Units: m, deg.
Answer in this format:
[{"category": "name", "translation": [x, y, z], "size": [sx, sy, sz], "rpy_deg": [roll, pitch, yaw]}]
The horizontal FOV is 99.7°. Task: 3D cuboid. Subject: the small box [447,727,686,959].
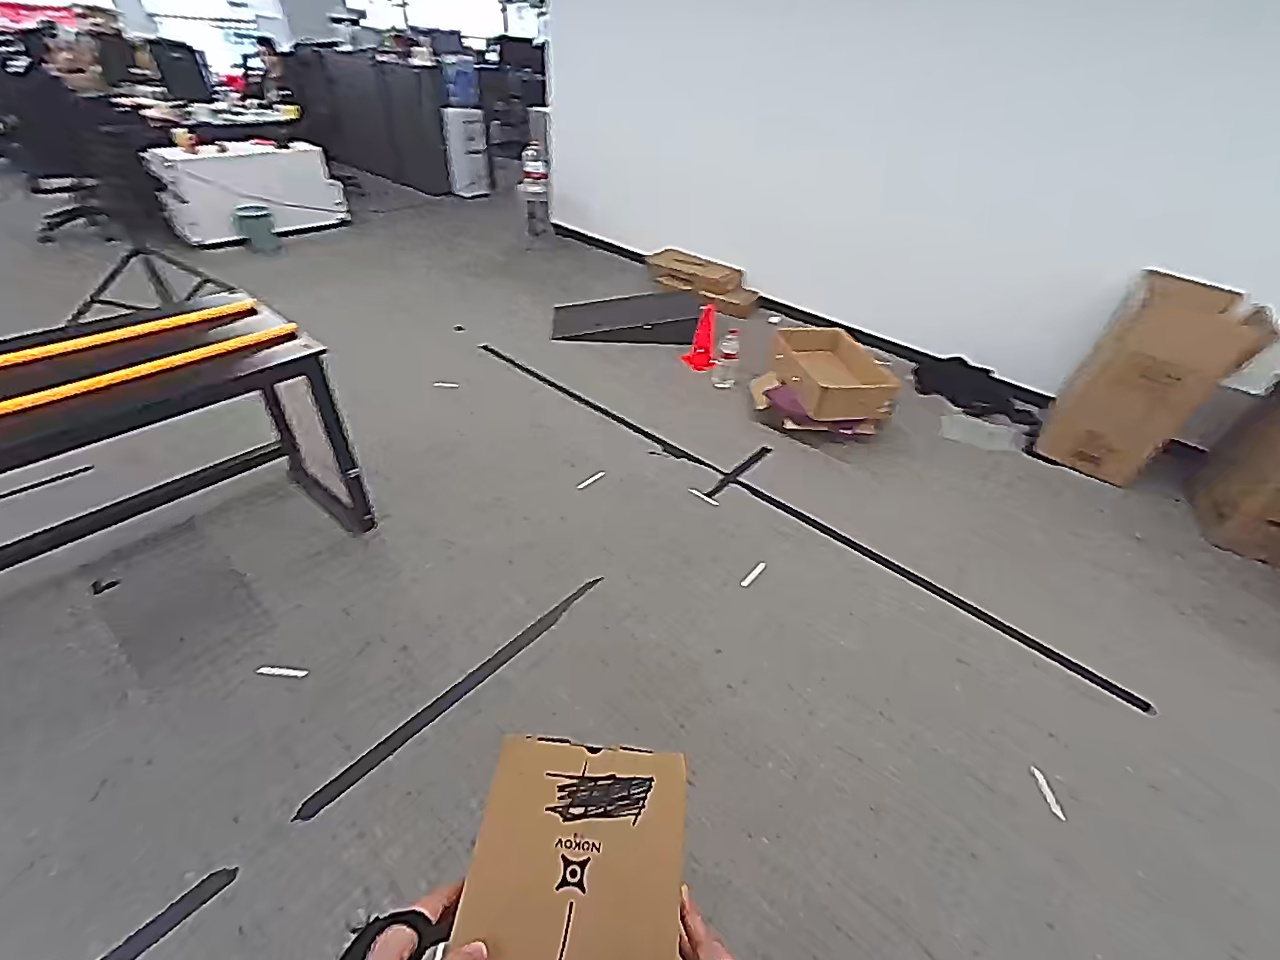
[{"category": "small box", "translation": [-0.051, 0.349, 0.484], "size": [0.168, 0.176, 0.179], "rpy_deg": [4, 45, 2]}]
